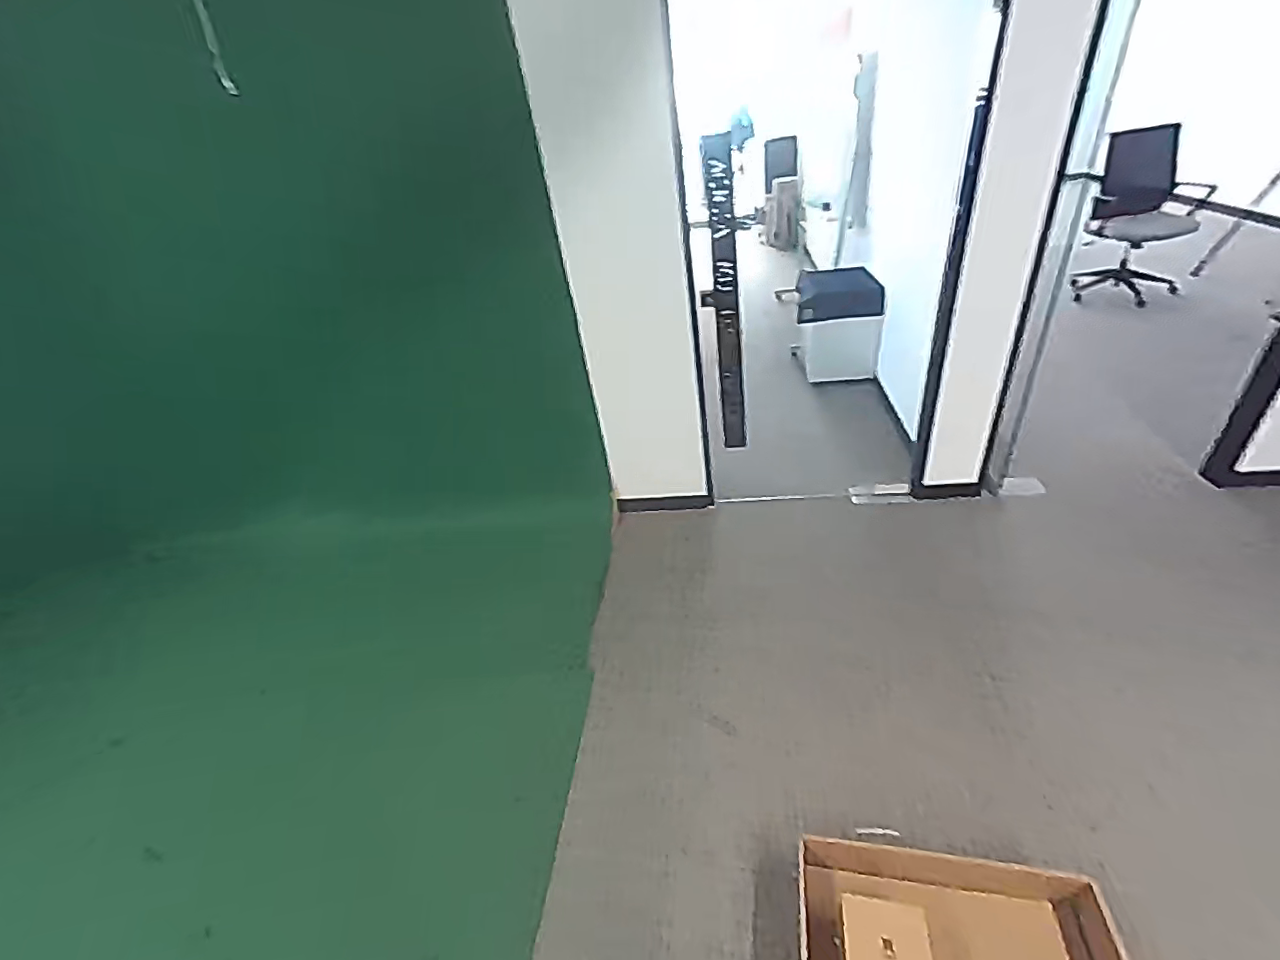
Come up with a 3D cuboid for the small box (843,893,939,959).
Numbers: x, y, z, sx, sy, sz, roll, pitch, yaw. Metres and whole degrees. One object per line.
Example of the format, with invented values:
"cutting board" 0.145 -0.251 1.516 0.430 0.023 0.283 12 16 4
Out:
"small box" 0.521 1.013 1.128 0.168 0.176 0.179 0 34 15
